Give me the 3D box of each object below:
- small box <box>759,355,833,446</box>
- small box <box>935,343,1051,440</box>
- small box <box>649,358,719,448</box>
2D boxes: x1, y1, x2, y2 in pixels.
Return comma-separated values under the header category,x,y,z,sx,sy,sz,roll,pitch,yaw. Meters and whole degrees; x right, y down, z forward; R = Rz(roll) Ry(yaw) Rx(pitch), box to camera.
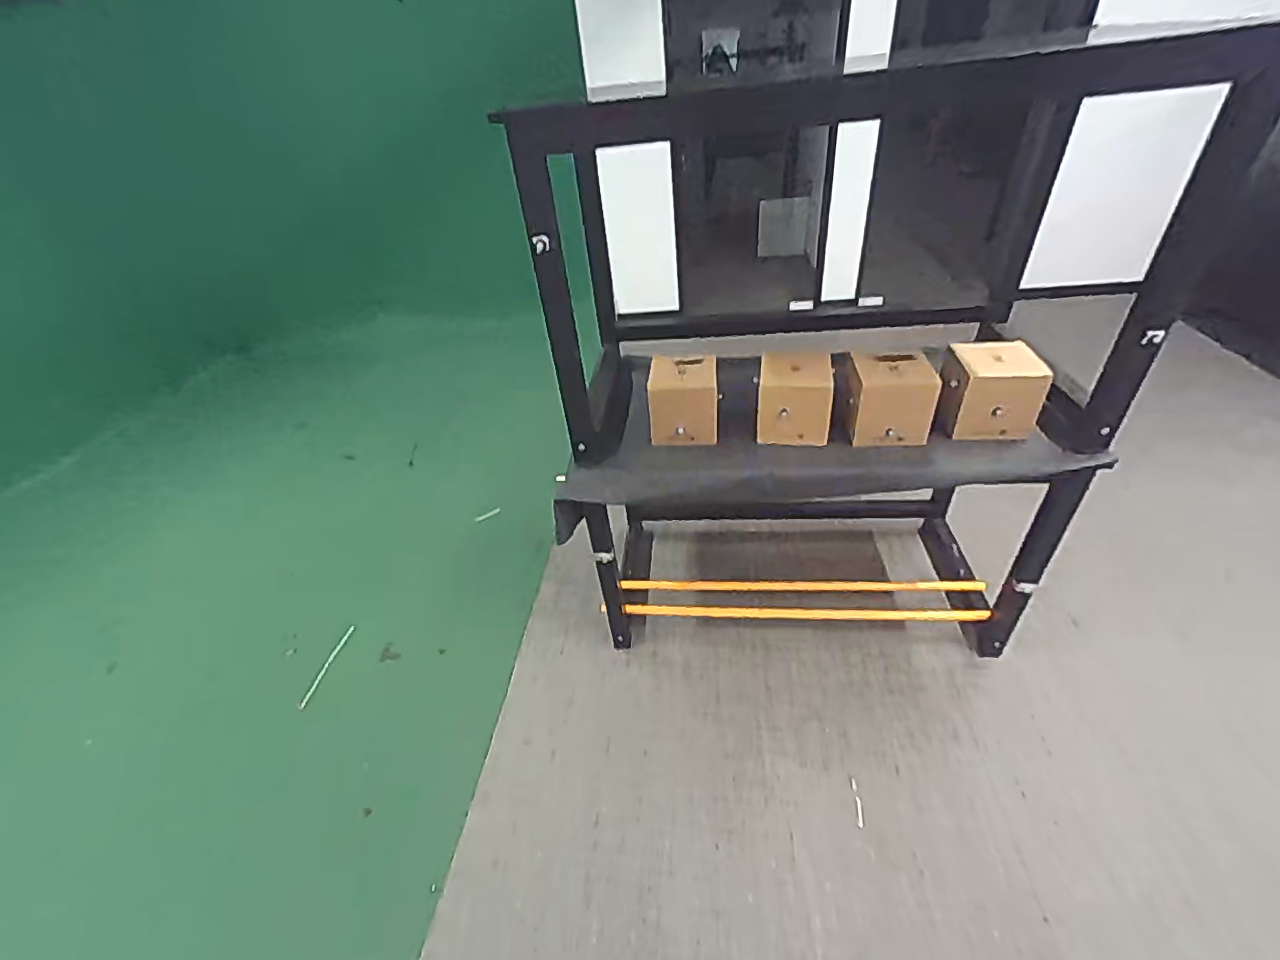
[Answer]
category,x,y,z,sx,sy,sz,roll,pitch,yaw
small box,0.384,-0.196,1.343,0.168,0.176,0.179,3,38,13
small box,0.820,-0.206,1.276,0.168,0.176,0.179,1,37,10
small box,0.118,-0.198,1.387,0.168,0.176,0.179,-1,39,8
